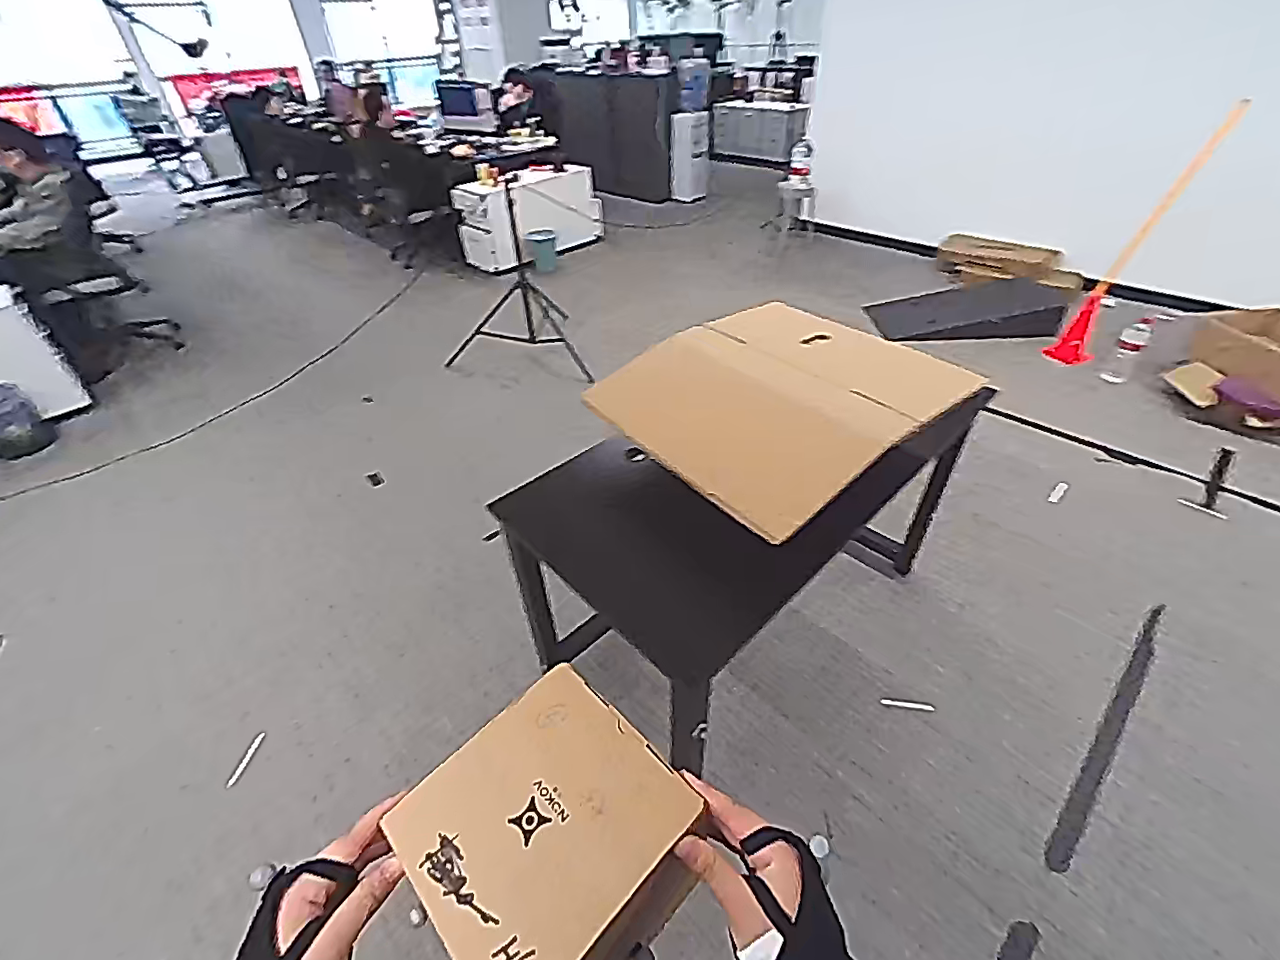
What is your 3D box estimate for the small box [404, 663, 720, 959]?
[{"bbox_3d":[-0.053,0.298,0.444,0.179,0.176,0.168,-34,47,-30],"label":"small box"}]
